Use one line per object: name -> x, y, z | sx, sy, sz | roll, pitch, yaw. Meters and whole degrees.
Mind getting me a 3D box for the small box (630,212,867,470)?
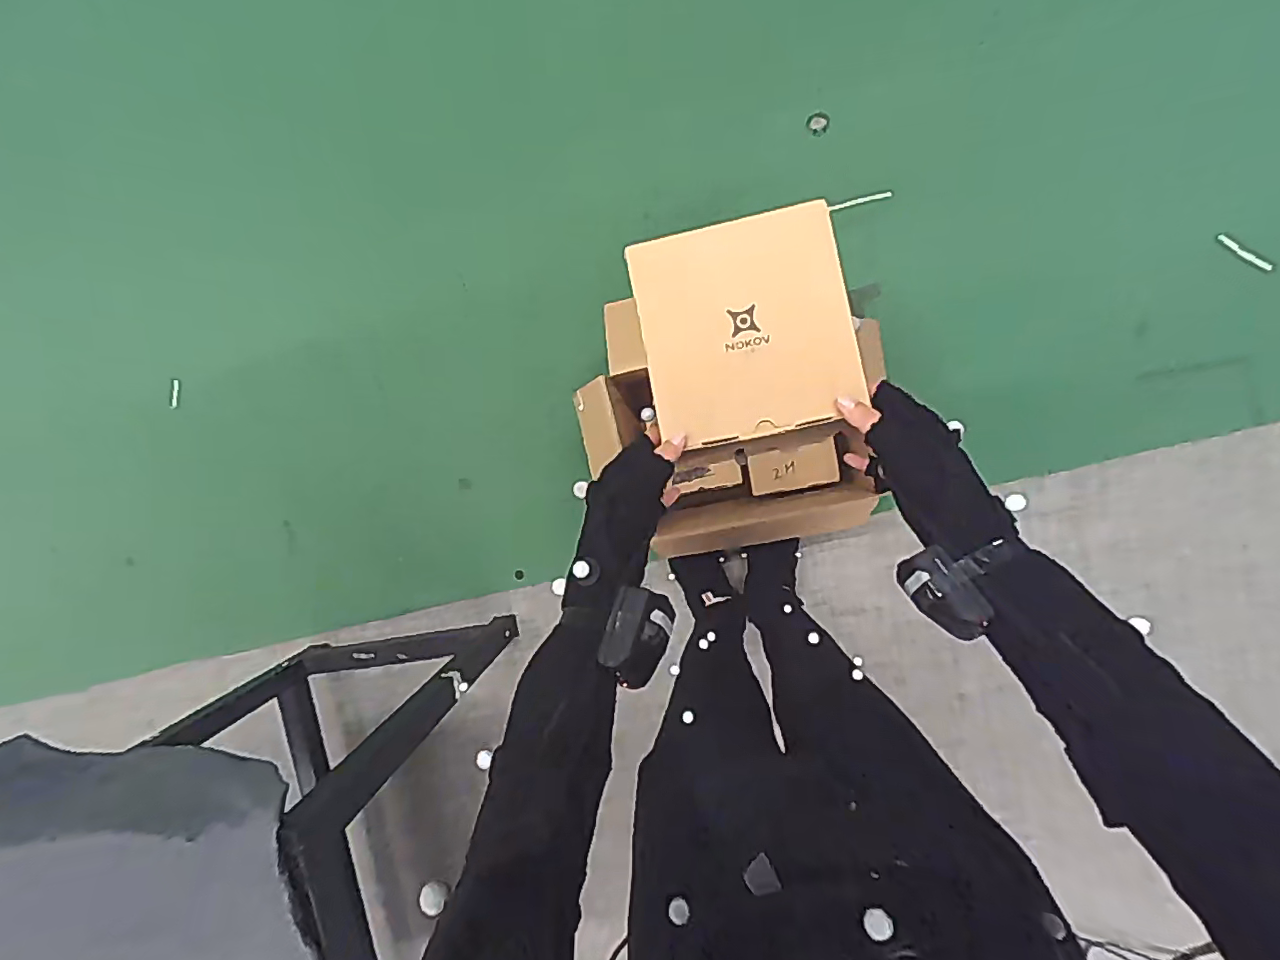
small box -> 0.092, -0.114, 0.516 | 0.168, 0.176, 0.179 | -11, 86, 6
